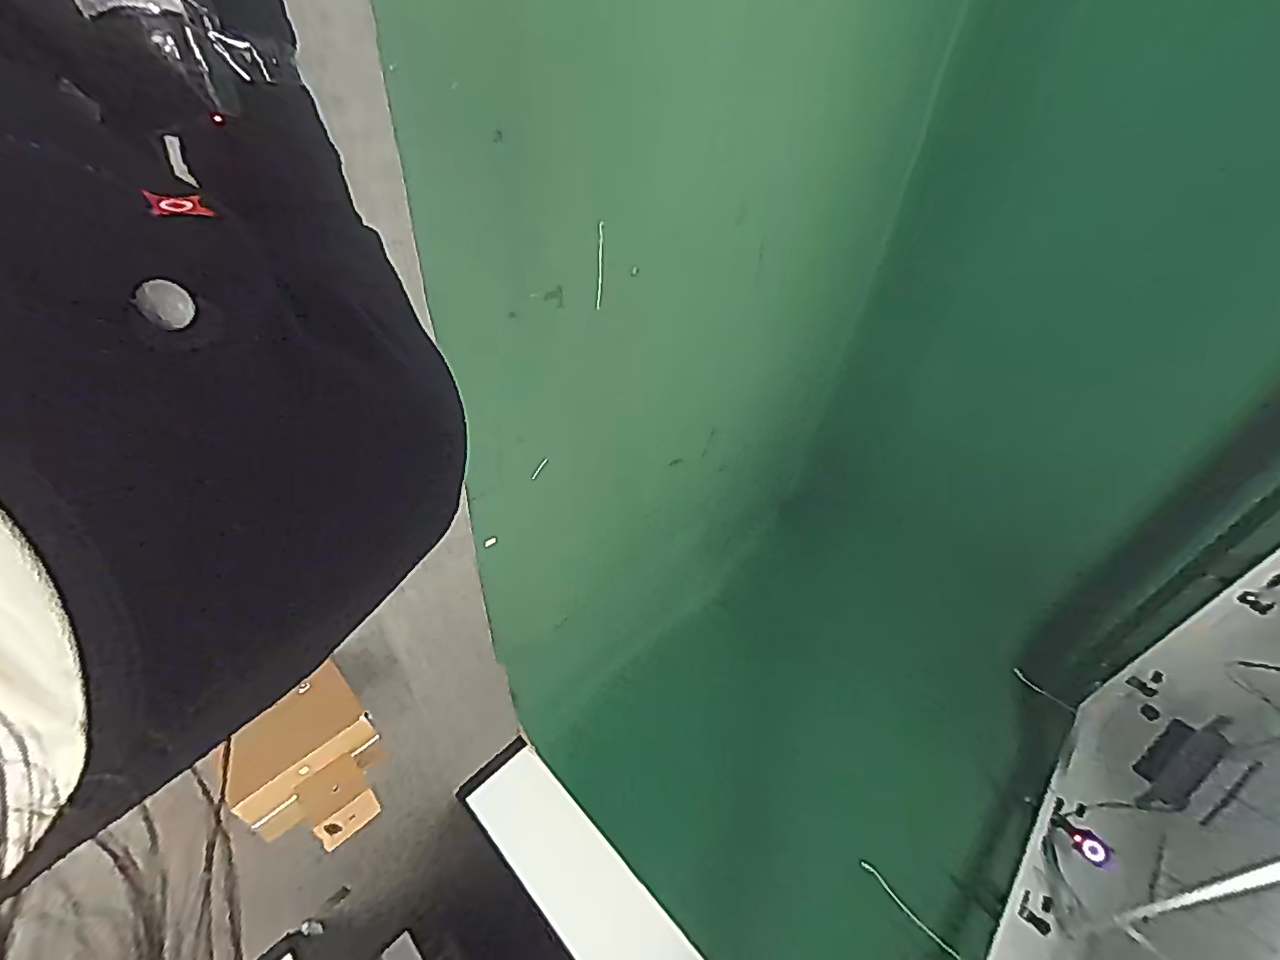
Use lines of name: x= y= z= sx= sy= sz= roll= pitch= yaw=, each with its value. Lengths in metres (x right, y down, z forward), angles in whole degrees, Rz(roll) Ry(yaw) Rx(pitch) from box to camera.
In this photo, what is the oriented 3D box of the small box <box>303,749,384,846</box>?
small box: x=-0.970 y=1.028 z=1.763 sx=0.179 sy=0.176 sz=0.168 roll=-28 pitch=137 yaw=-39
